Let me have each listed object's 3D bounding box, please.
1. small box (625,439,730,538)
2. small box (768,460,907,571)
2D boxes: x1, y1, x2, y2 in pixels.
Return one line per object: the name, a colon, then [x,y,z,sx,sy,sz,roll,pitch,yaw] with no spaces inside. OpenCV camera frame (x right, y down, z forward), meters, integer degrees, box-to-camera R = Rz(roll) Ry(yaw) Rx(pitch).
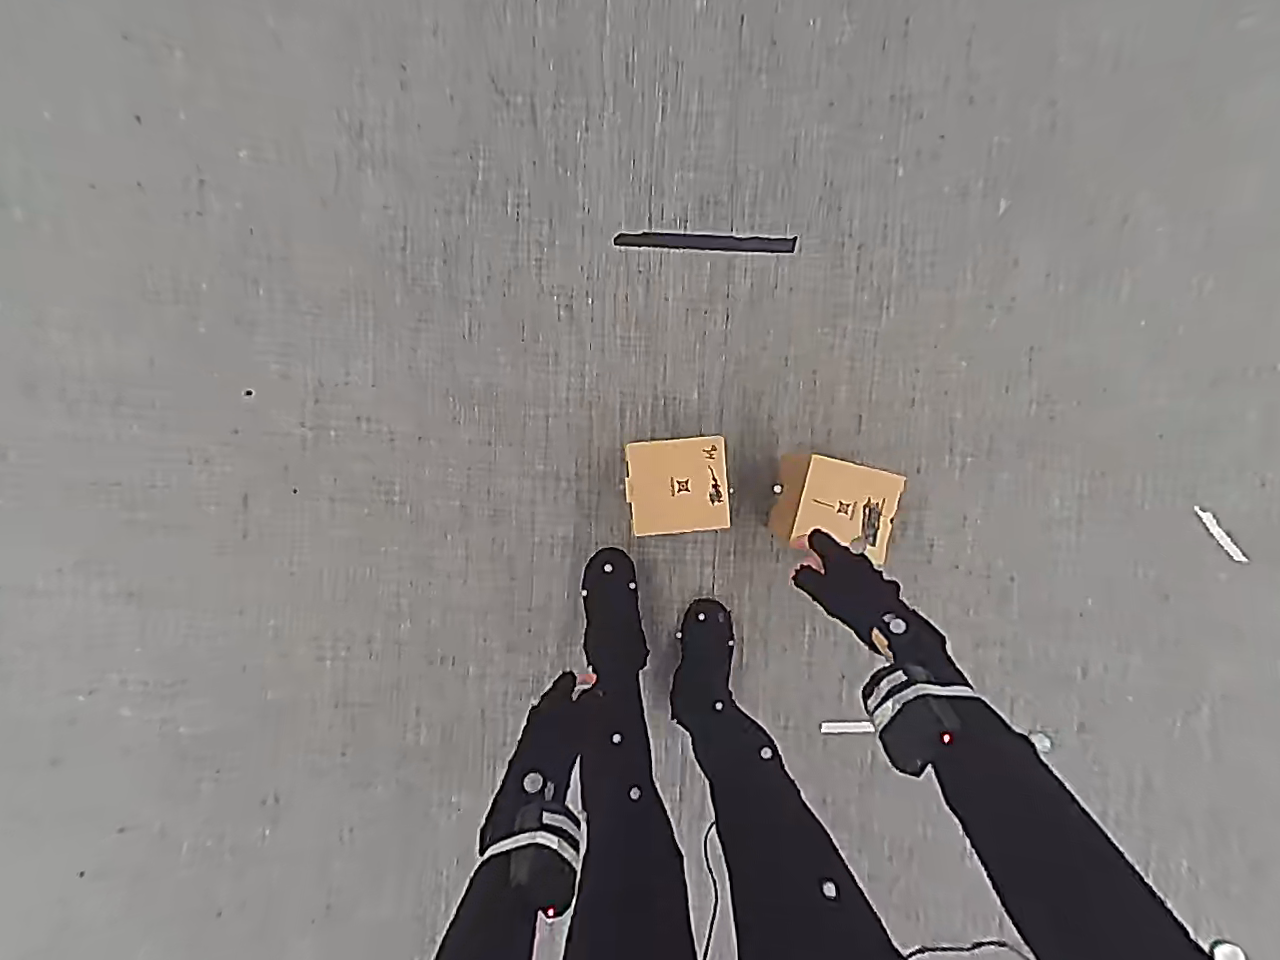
small box: [0.065,0.012,1.017,0.179,0.176,0.168,-4,93,-1]
small box: [0.365,0.058,1.028,0.179,0.176,0.168,14,92,-2]
